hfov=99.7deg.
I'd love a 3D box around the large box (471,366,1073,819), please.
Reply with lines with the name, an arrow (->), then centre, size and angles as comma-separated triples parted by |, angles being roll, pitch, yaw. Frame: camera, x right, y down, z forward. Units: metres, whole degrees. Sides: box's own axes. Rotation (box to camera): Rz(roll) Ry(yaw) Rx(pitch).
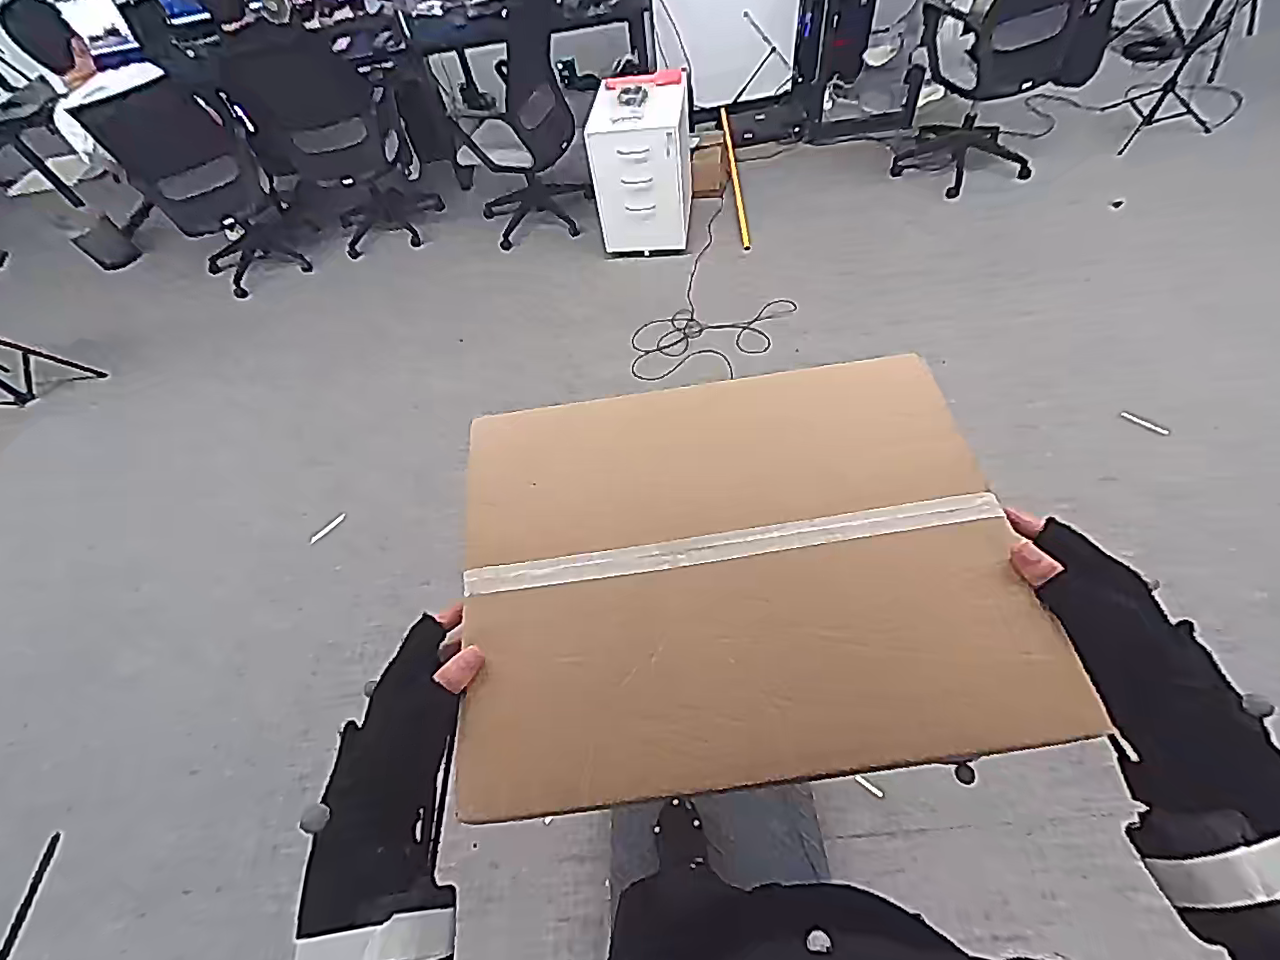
large box -> 0.080, 0.127, 0.549 | 0.408, 0.320, 0.320 | -8, 60, 0
